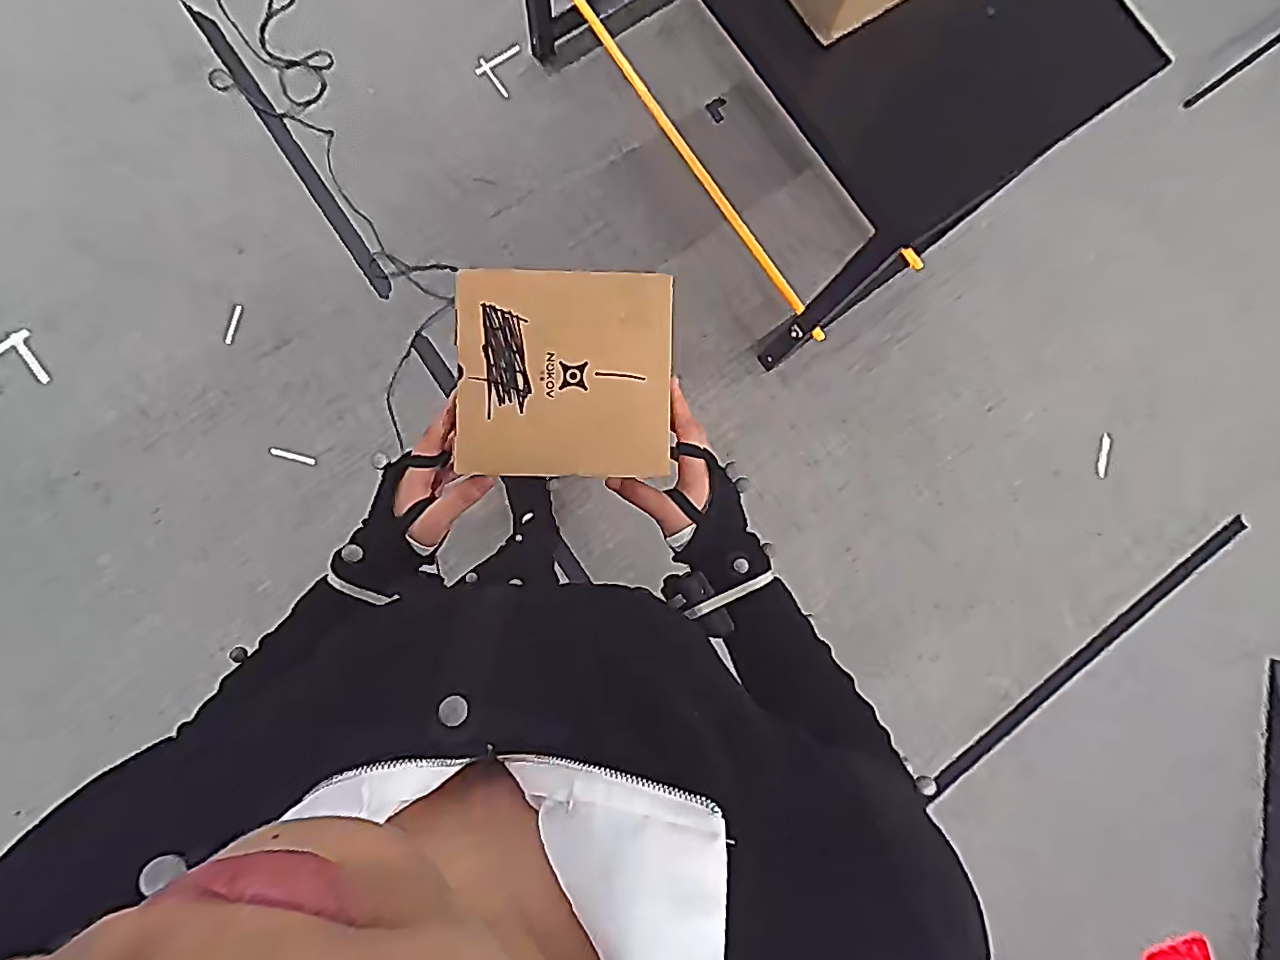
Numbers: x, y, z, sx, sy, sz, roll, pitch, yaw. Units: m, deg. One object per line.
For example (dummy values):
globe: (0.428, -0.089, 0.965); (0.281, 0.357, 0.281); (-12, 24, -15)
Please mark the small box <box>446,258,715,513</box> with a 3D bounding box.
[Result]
small box: (-0.040, -0.062, 0.432); (0.179, 0.176, 0.168); (0, 92, -2)
